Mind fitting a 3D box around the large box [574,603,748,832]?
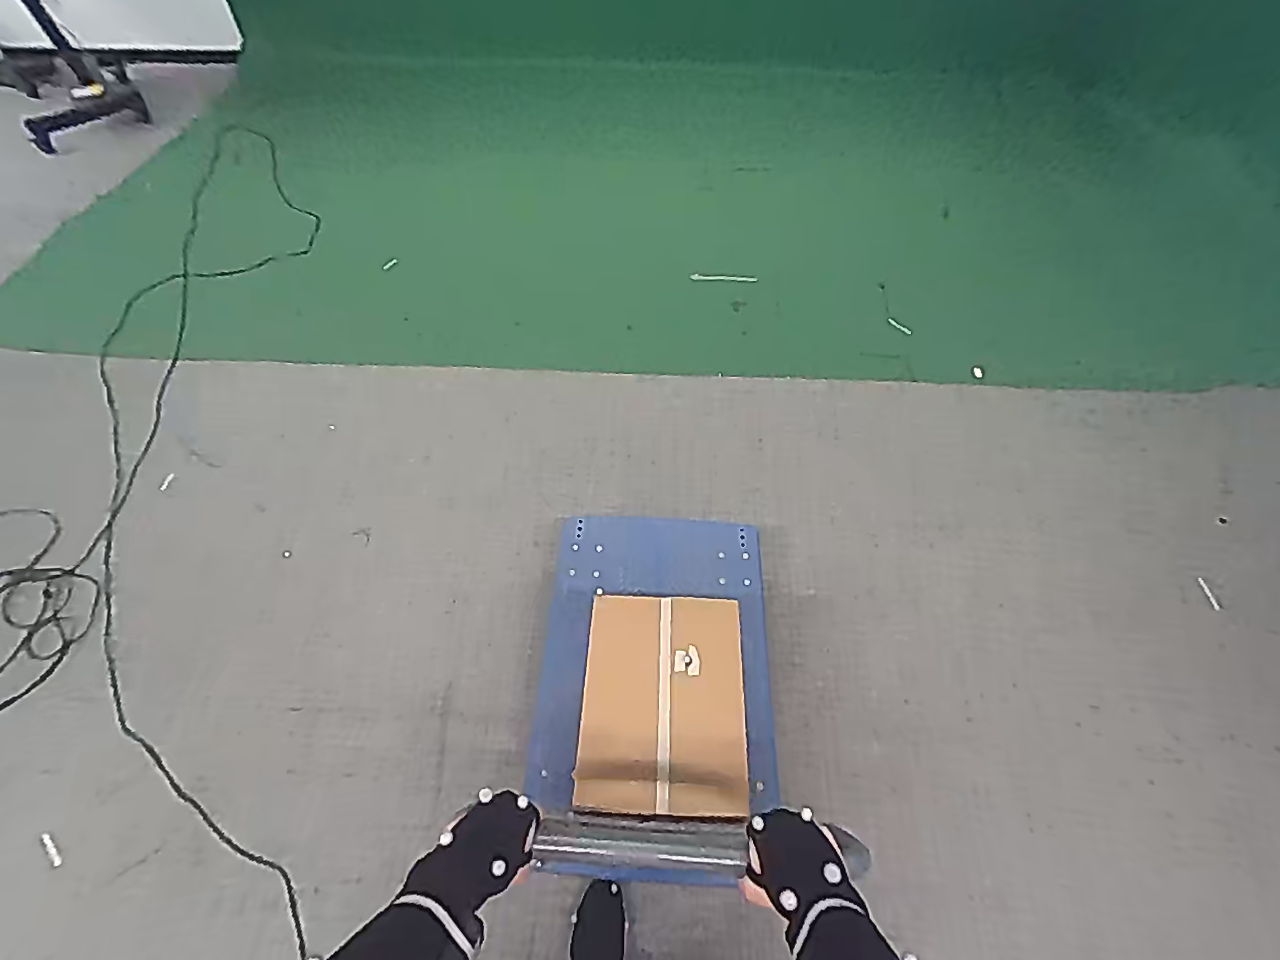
[{"bbox_3d":[0.046,0.522,1.183,0.320,0.320,0.408,2,54,2],"label":"large box"}]
